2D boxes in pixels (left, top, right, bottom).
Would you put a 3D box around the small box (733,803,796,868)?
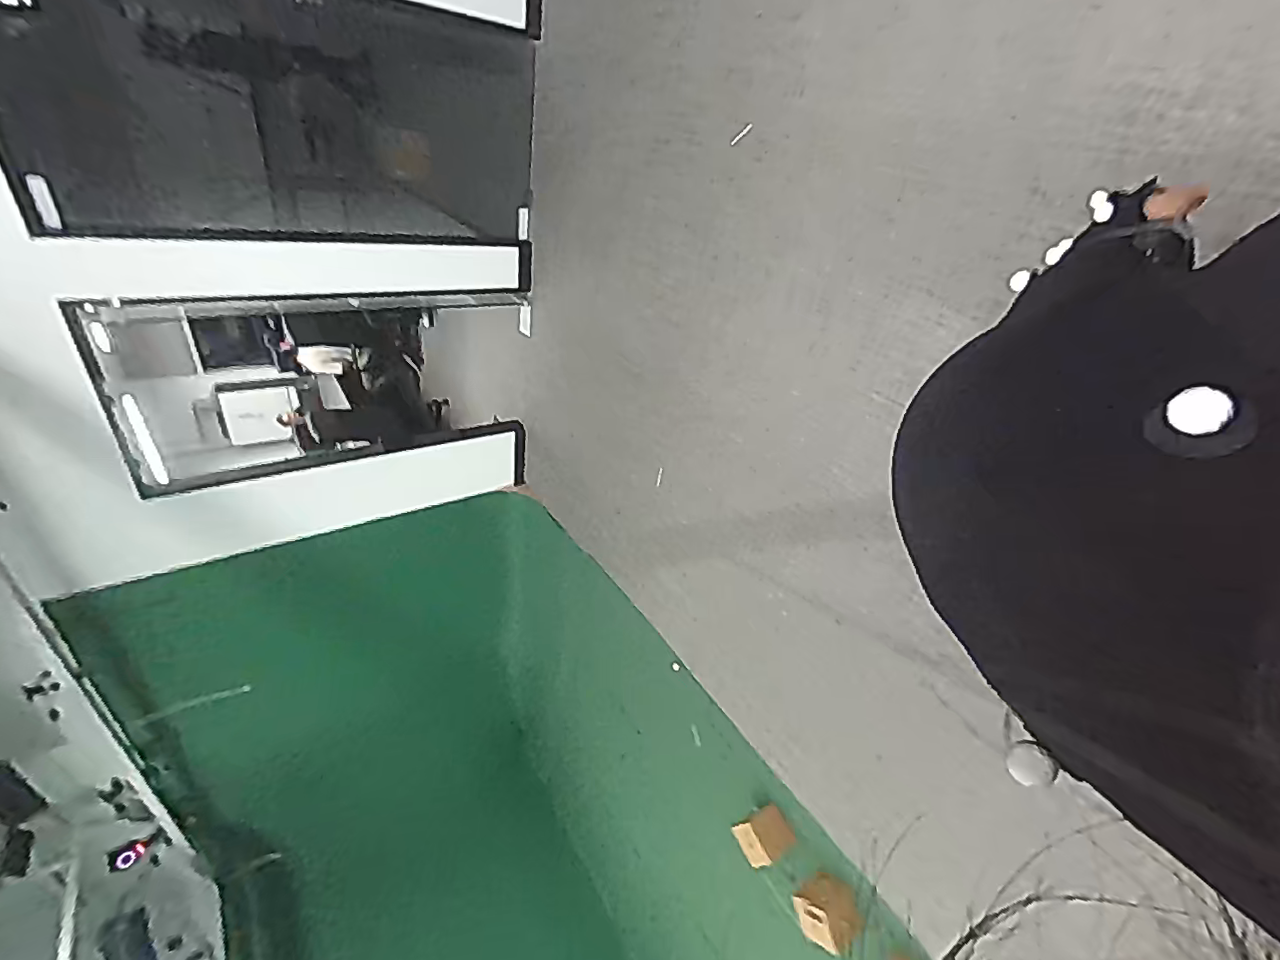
[{"bbox_3d":[0.556,1.579,2.402,0.179,0.176,0.168,58,142,25],"label":"small box"}]
